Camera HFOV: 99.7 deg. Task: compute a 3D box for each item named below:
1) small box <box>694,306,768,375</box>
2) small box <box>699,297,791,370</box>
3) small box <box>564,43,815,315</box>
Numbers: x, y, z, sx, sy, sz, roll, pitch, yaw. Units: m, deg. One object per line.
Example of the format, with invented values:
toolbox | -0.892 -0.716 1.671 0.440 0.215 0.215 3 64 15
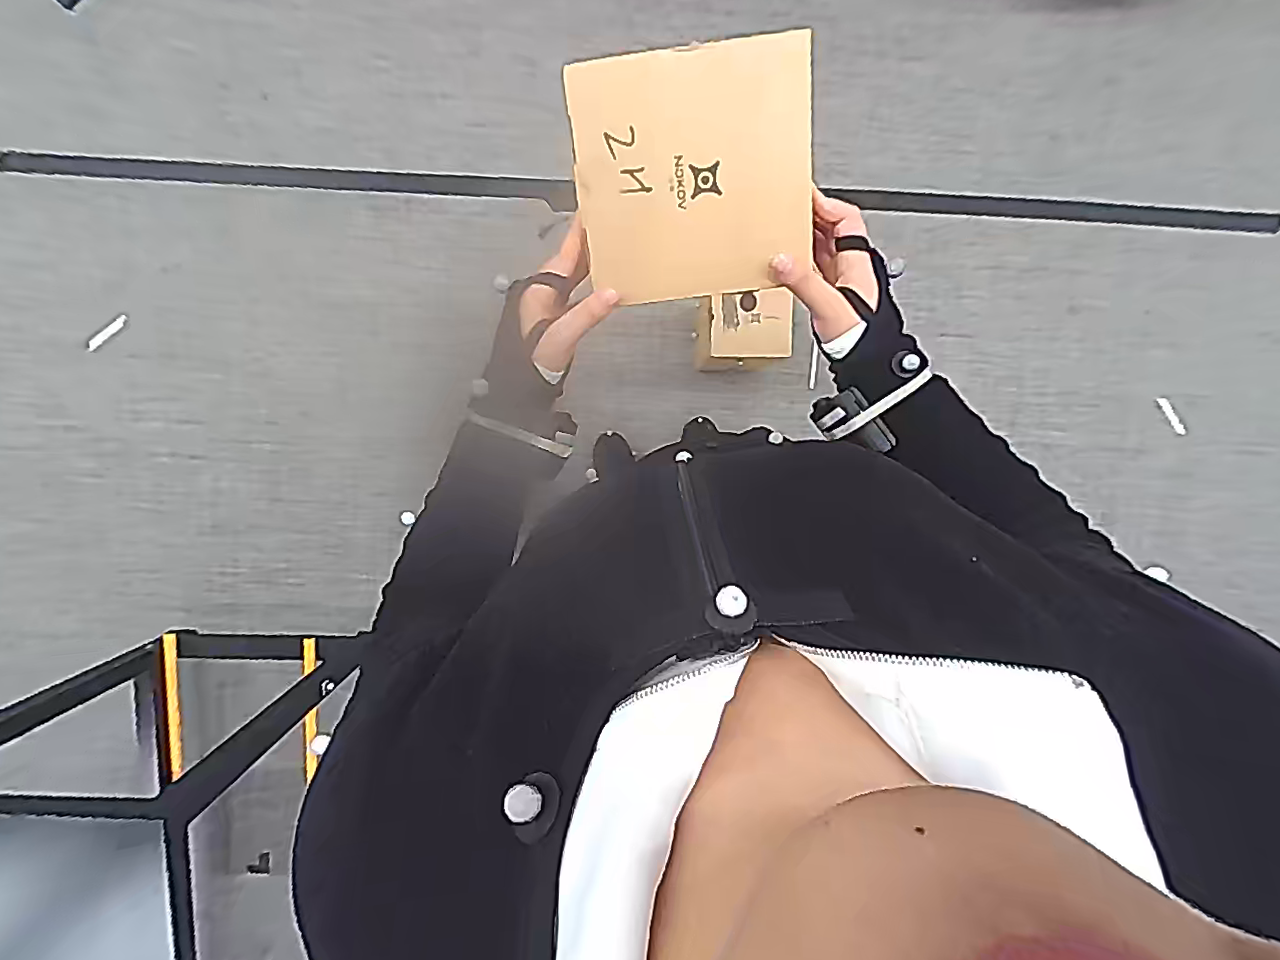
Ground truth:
small box | 0.230 -0.359 1.374 0.168 0.176 0.179 0 97 -1
small box | 0.227 -0.337 1.210 0.179 0.176 0.168 0 96 -2
small box | 0.040 -0.240 0.470 0.179 0.176 0.168 -5 109 3
